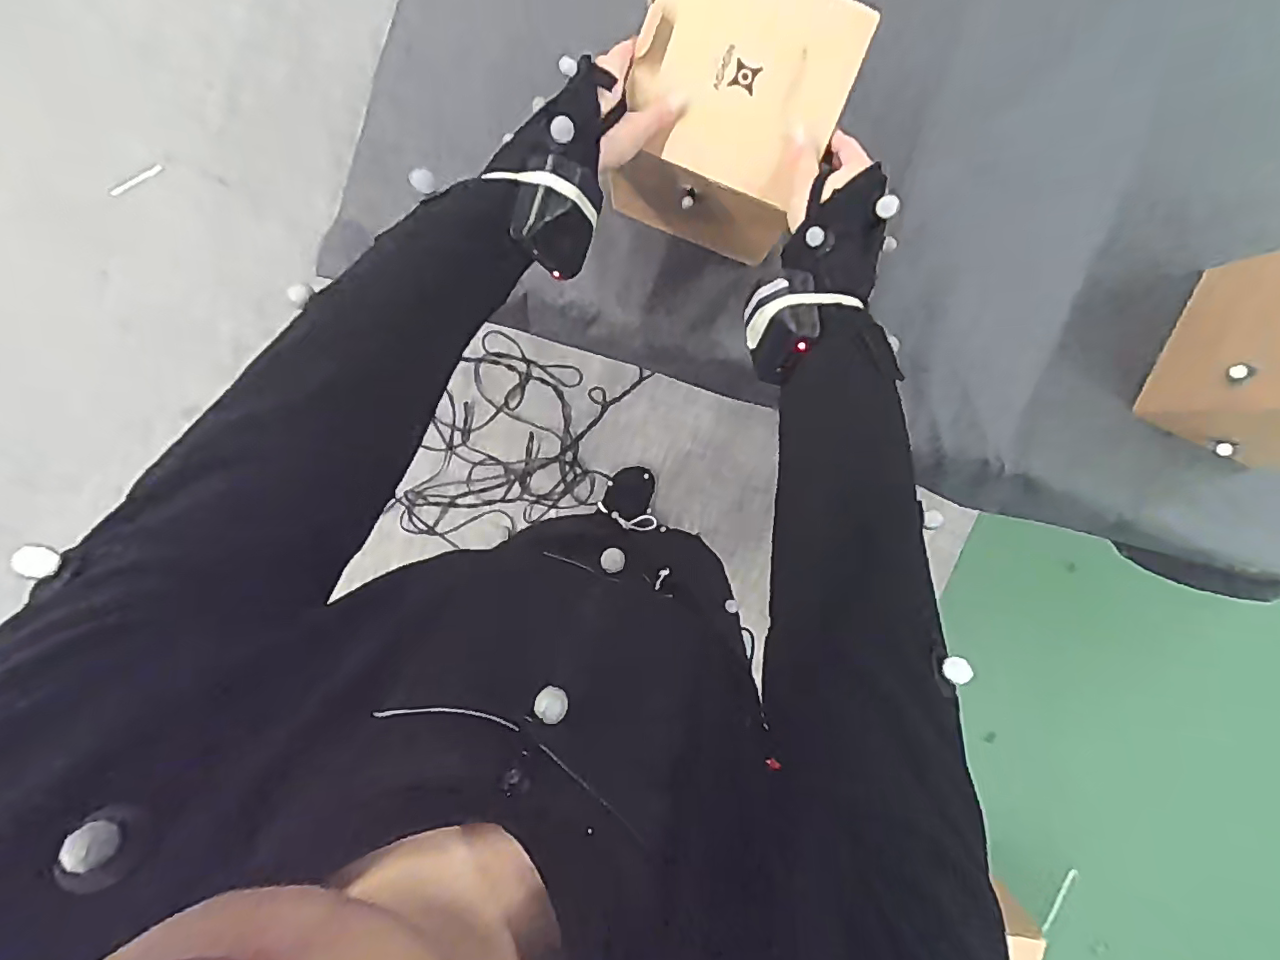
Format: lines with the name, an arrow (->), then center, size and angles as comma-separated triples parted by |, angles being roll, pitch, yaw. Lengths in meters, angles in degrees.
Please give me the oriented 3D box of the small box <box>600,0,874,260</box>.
small box -> 0.075, -0.331, 0.509 | 0.179, 0.176, 0.168 | 21, 96, -3
